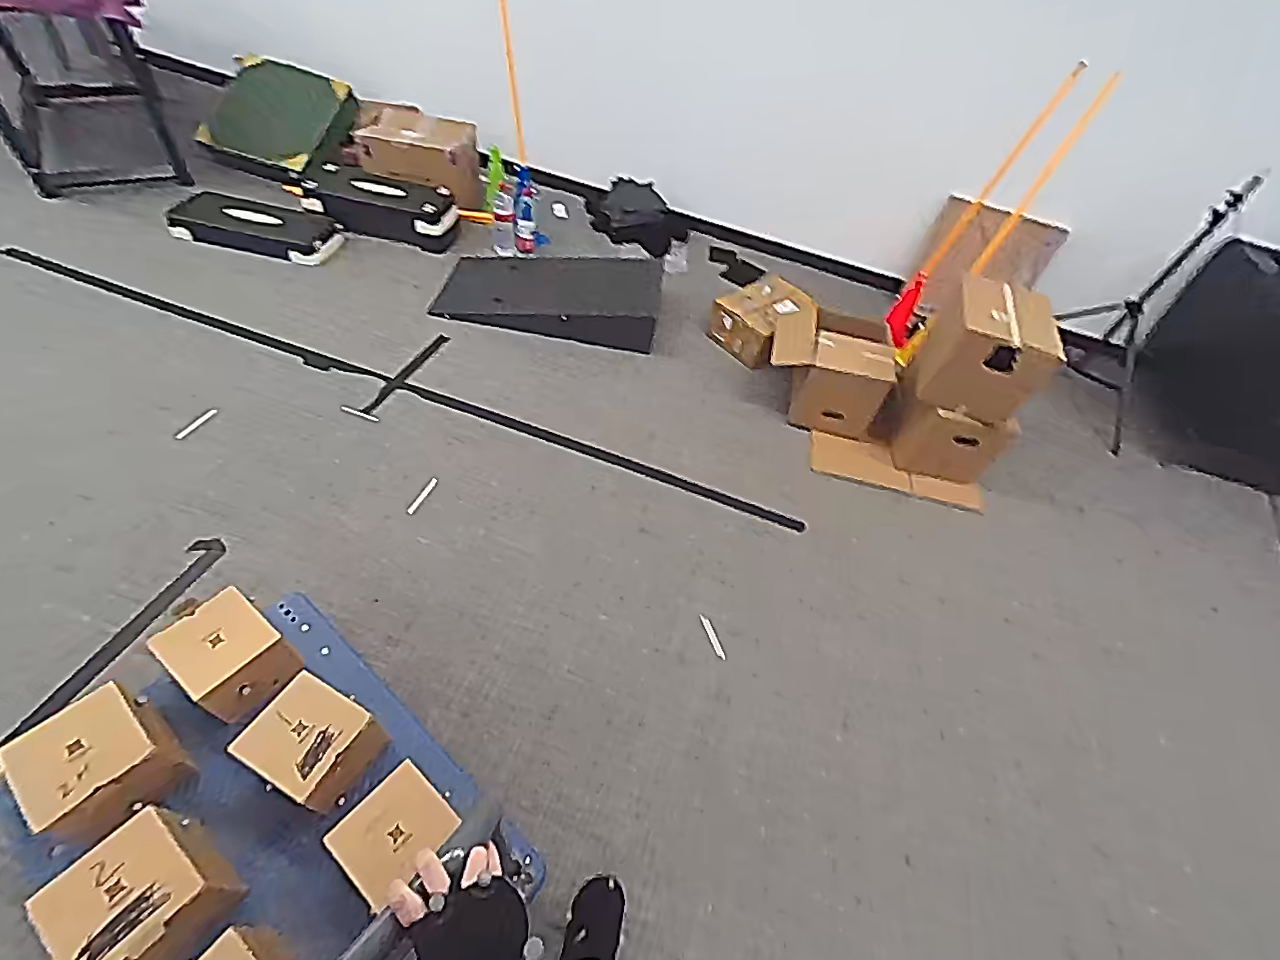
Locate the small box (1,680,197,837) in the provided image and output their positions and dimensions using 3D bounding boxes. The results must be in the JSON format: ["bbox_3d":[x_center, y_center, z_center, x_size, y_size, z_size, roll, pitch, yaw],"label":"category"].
[{"bbox_3d":[-0.956,0.504,0.971,0.179,0.176,0.168,39,54,18],"label":"small box"}]

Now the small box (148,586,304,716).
[{"bbox_3d":[-0.840,0.360,1.117,0.179,0.176,0.168,34,53,16],"label":"small box"}]

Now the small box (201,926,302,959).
[{"bbox_3d":[-0.597,0.806,0.800,0.179,0.176,0.168,34,52,15],"label":"small box"}]

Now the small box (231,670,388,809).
[{"bbox_3d":[-0.621,0.505,1.043,0.179,0.176,0.168,26,51,11],"label":"small box"}]

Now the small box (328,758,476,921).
[{"bbox_3d":[-0.416,0.645,0.973,0.179,0.176,0.168,37,53,19],"label":"small box"}]
